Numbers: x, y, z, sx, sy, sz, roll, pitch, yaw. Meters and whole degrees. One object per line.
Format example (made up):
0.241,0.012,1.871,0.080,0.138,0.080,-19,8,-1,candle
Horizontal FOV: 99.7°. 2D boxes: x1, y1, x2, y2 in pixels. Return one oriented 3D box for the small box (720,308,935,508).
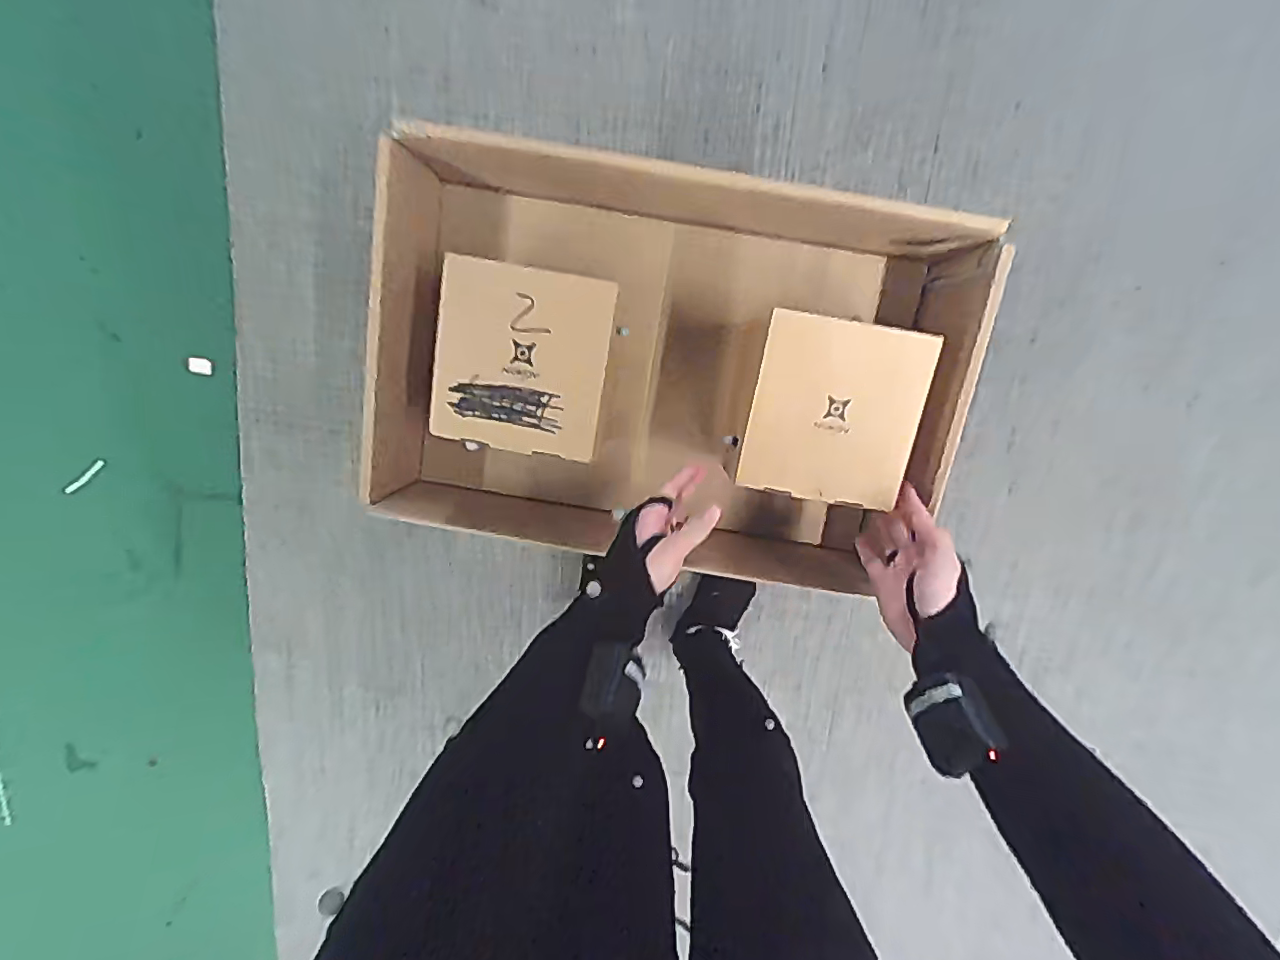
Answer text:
0.189,-0.087,0.604,0.168,0.176,0.179,9,105,1,small box
